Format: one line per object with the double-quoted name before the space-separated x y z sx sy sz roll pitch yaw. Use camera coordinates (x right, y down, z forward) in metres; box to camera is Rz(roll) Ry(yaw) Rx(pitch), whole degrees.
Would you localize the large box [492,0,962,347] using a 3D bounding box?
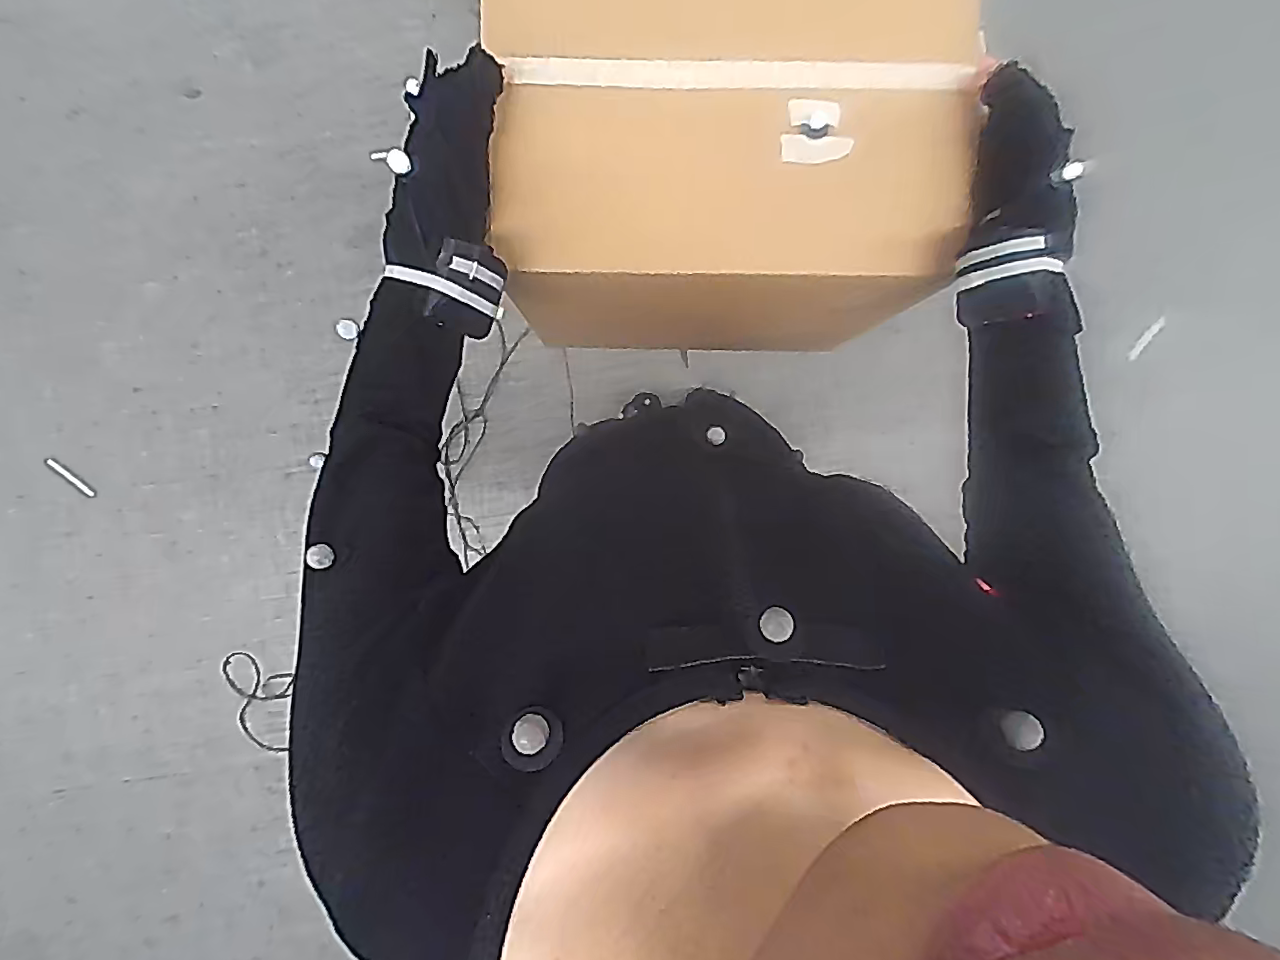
"large box" 0.070 -0.339 0.607 0.408 0.320 0.320 0 92 -1
